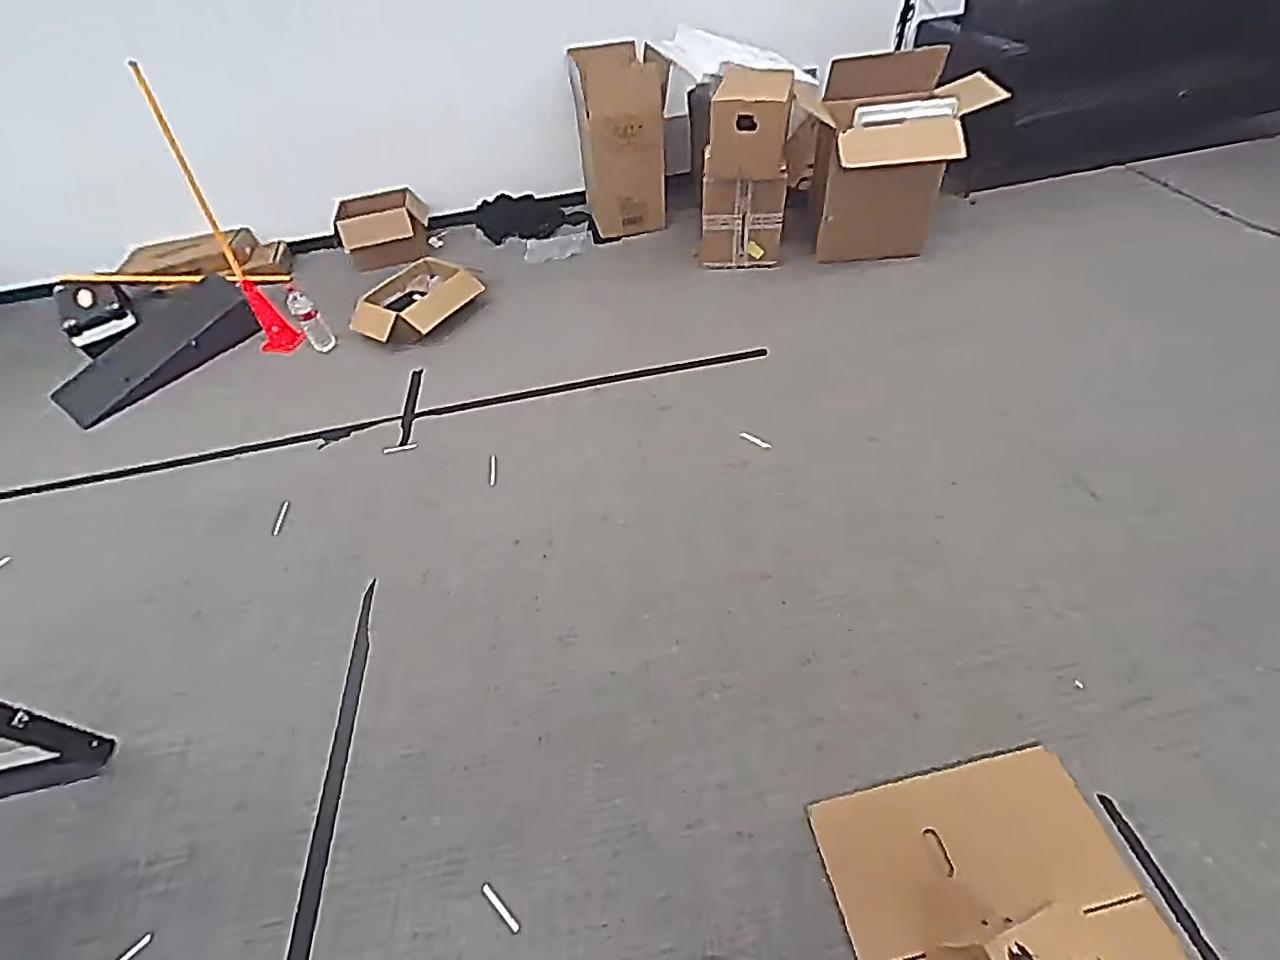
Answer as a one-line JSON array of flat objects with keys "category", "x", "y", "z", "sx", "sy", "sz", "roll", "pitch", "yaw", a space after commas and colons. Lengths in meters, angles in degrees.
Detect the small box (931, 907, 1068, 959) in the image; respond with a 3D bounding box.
[{"category": "small box", "x": 0.668, "y": 0.910, "z": 0.978, "sx": 0.179, "sy": 0.176, "sz": 0.168, "roll": -19, "pitch": 47, "yaw": -7}]
